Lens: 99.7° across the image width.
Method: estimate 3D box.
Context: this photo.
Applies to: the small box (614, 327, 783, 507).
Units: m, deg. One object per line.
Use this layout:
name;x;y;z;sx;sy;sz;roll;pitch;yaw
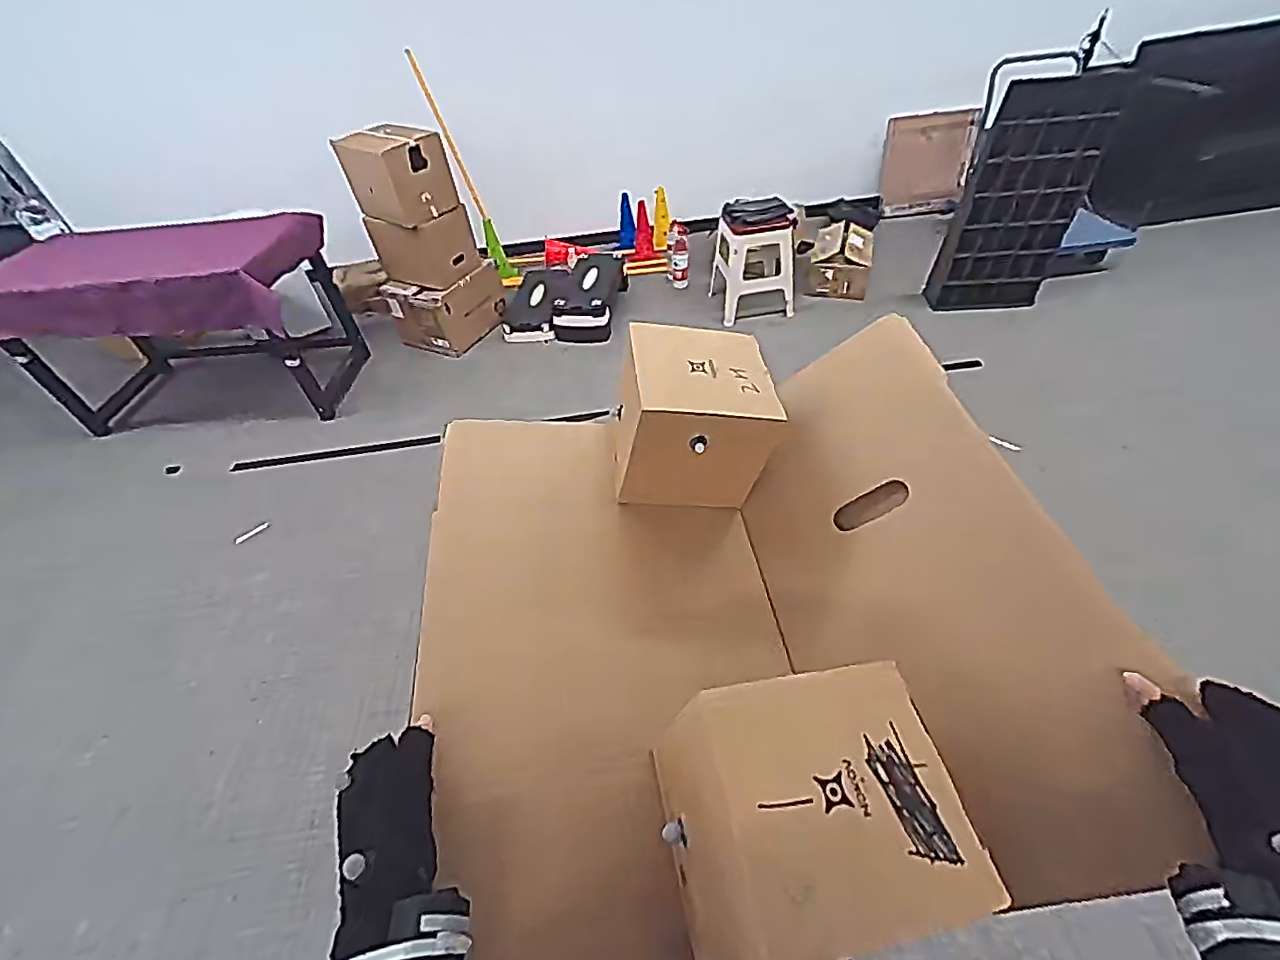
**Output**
small box;0.061;-0.078;0.718;0.179;0.176;0.168;3;50;-12
